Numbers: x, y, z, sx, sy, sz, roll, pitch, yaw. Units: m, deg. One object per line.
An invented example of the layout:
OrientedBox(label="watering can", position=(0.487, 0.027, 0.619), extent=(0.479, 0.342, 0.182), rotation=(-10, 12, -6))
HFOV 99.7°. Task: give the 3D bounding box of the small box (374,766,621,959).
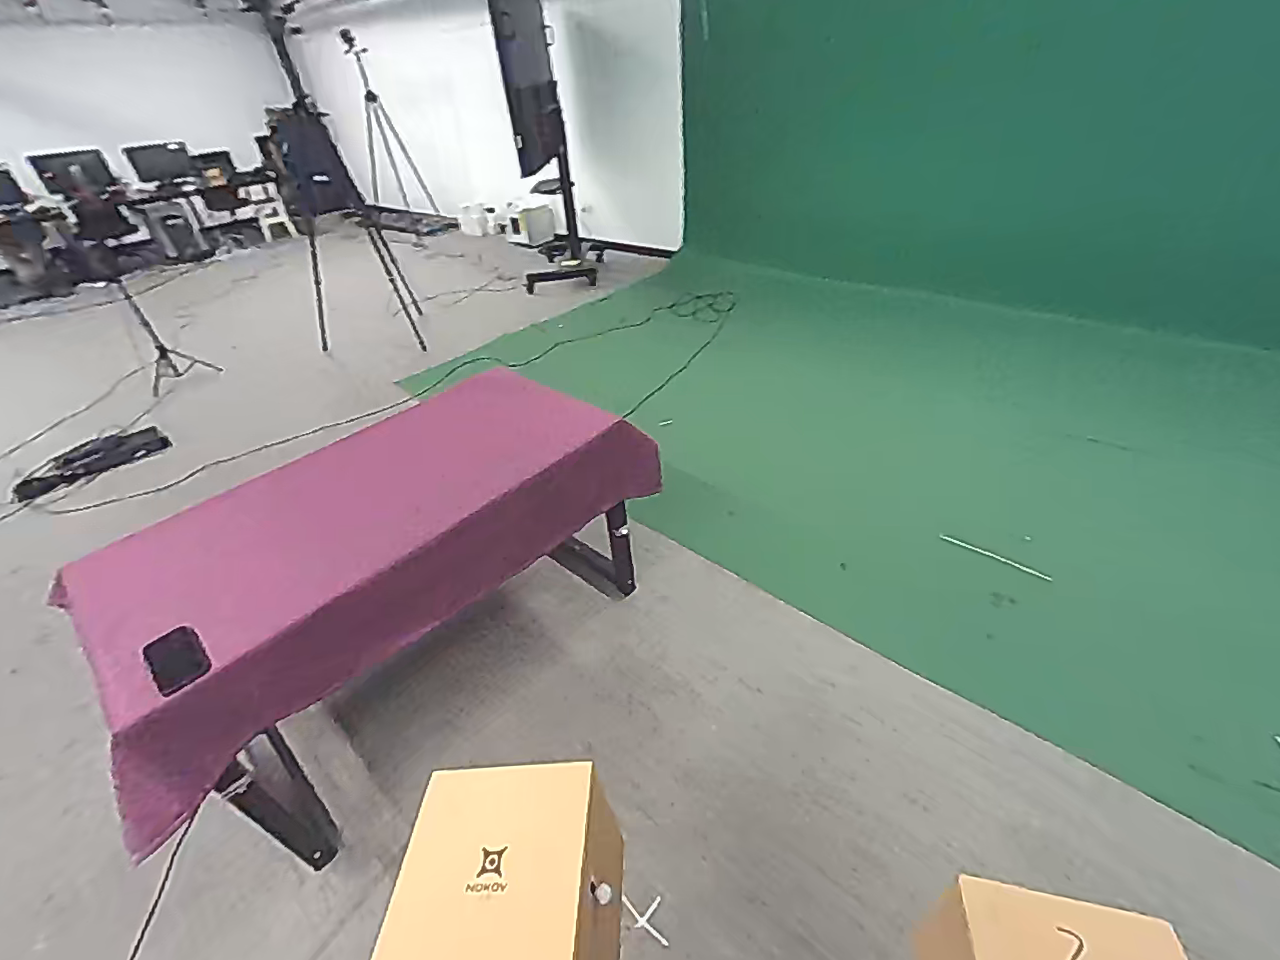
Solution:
OrientedBox(label="small box", position=(-0.113, 0.398, 0.504), extent=(0.168, 0.176, 0.179), rotation=(-7, 35, 6))
